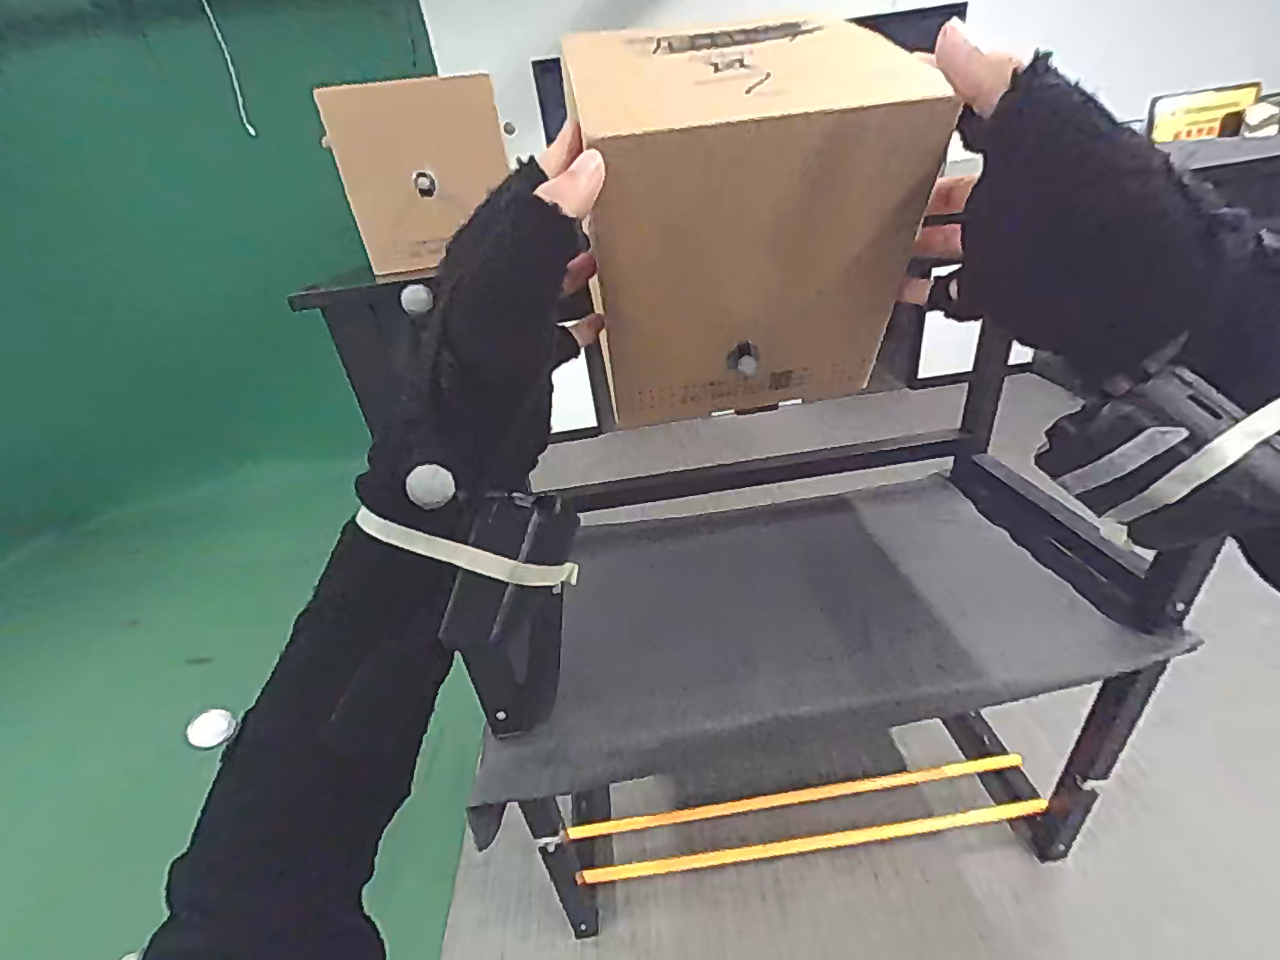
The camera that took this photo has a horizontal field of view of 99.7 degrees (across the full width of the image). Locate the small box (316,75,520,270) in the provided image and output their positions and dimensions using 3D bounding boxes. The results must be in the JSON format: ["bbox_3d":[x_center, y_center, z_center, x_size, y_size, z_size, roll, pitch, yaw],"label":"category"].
[{"bbox_3d":[-0.240,-0.351,0.638,0.168,0.176,0.179,-11,29,-7],"label":"small box"}]
